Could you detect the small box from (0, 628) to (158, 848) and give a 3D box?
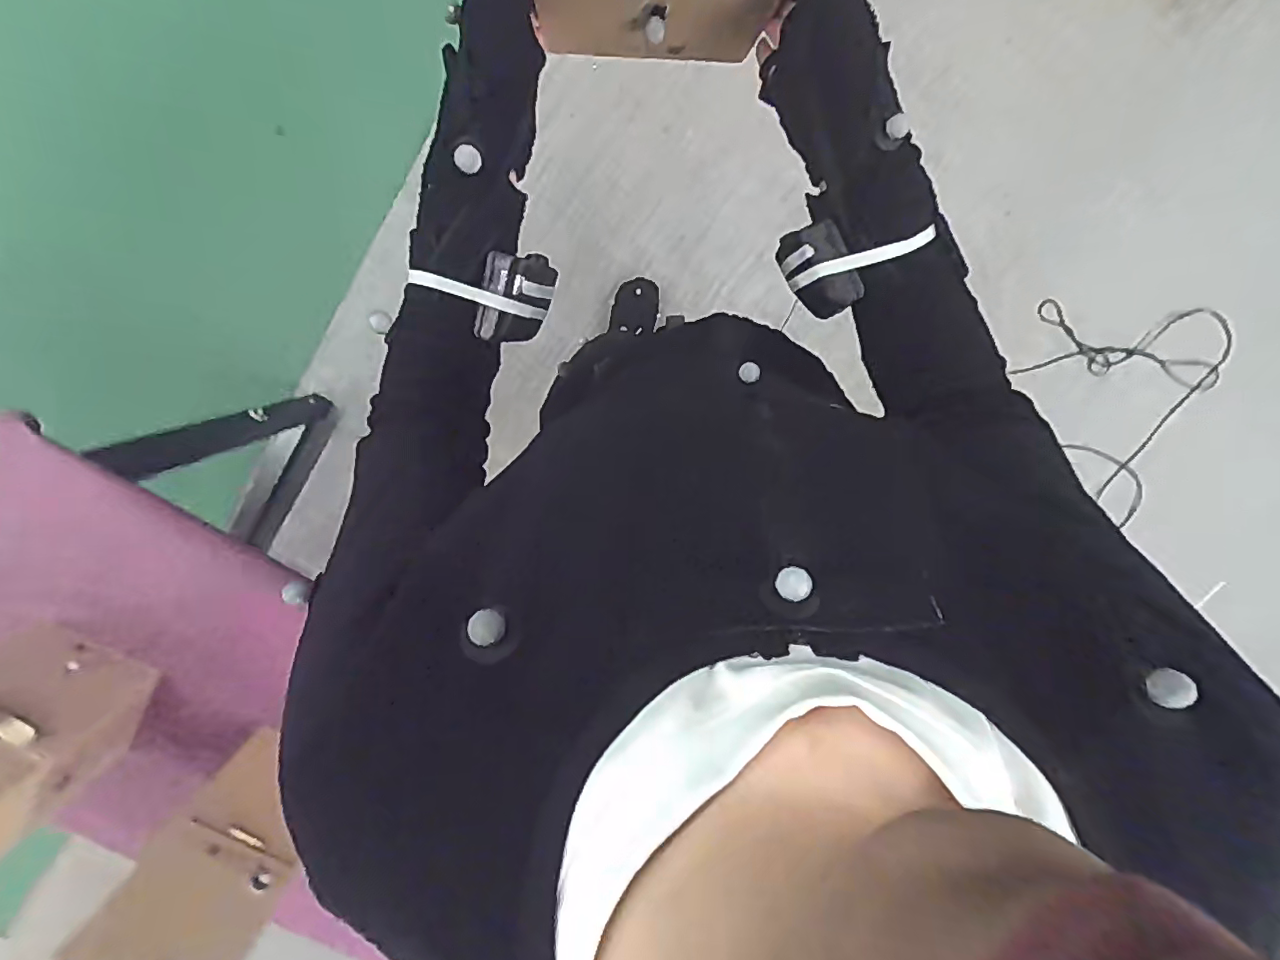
[{"bbox_3d":[-0.825,0.343,0.741,0.168,0.176,0.179,31,104,-11],"label":"small box"}]

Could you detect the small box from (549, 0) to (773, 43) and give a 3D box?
[{"bbox_3d":[0.016,-0.403,0.333,0.168,0.176,0.179,-2,109,-2],"label":"small box"}]

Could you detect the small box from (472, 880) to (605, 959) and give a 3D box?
[{"bbox_3d":[-0.168,0.806,0.880,0.179,0.176,0.168,-34,104,9],"label":"small box"}]

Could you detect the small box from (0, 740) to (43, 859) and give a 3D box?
[{"bbox_3d":[-0.827,0.393,0.586,0.168,0.176,0.179,32,103,-10],"label":"small box"}]

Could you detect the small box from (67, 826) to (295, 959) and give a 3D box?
[{"bbox_3d":[-0.555,0.560,0.641,0.168,0.176,0.179,34,105,-11],"label":"small box"}]
